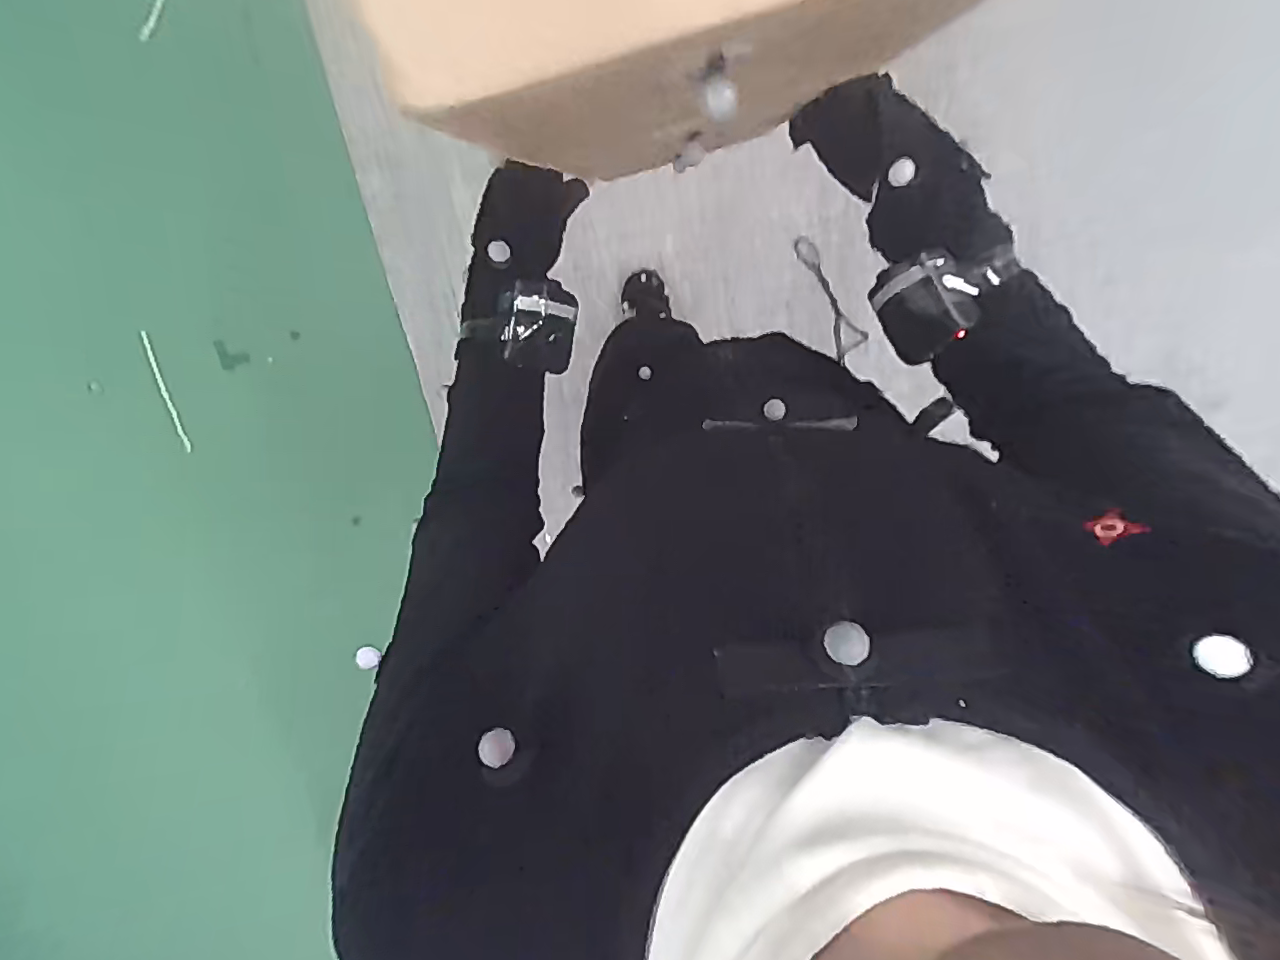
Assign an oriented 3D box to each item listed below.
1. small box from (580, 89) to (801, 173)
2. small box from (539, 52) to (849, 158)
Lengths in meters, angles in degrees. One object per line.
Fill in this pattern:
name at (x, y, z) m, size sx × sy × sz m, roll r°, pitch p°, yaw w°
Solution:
small box at (0.024, -0.375, 0.458) m, size 0.179 × 0.176 × 0.168 m, roll -10°, pitch 114°, yaw 9°
small box at (0.011, -0.304, 0.313) m, size 0.168 × 0.176 × 0.179 m, roll -12°, pitch 115°, yaw 9°
